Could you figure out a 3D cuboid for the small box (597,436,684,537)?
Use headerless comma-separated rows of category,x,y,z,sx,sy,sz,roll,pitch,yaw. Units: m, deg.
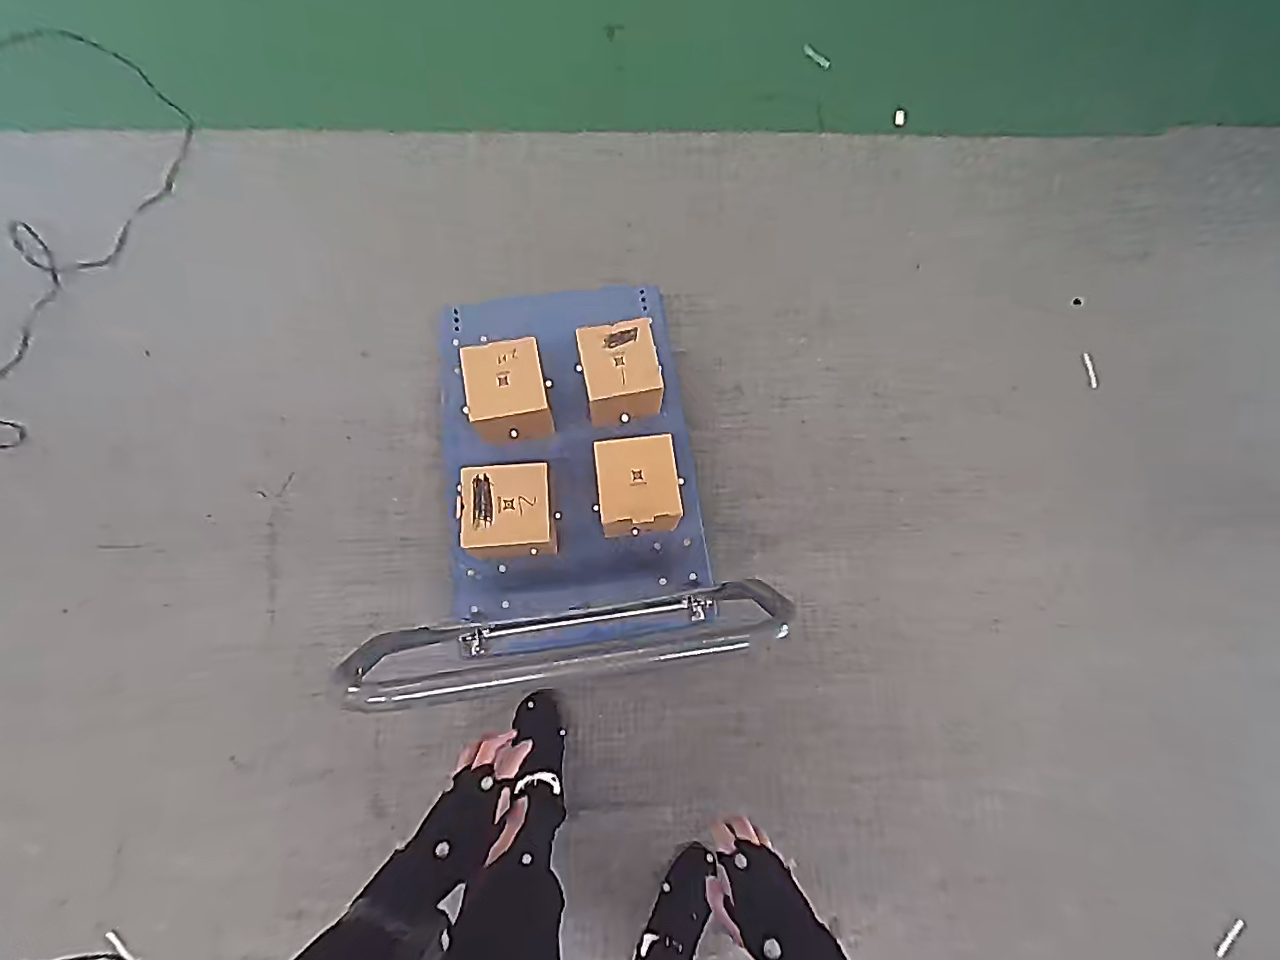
small box,-0.006,0.018,1.179,0.168,0.176,0.179,-6,76,-4

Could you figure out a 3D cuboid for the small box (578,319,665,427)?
small box,-0.045,-0.241,1.245,0.168,0.176,0.179,-11,77,-4

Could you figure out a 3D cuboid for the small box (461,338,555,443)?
small box,-0.292,-0.193,1.222,0.168,0.176,0.179,-10,76,-6
